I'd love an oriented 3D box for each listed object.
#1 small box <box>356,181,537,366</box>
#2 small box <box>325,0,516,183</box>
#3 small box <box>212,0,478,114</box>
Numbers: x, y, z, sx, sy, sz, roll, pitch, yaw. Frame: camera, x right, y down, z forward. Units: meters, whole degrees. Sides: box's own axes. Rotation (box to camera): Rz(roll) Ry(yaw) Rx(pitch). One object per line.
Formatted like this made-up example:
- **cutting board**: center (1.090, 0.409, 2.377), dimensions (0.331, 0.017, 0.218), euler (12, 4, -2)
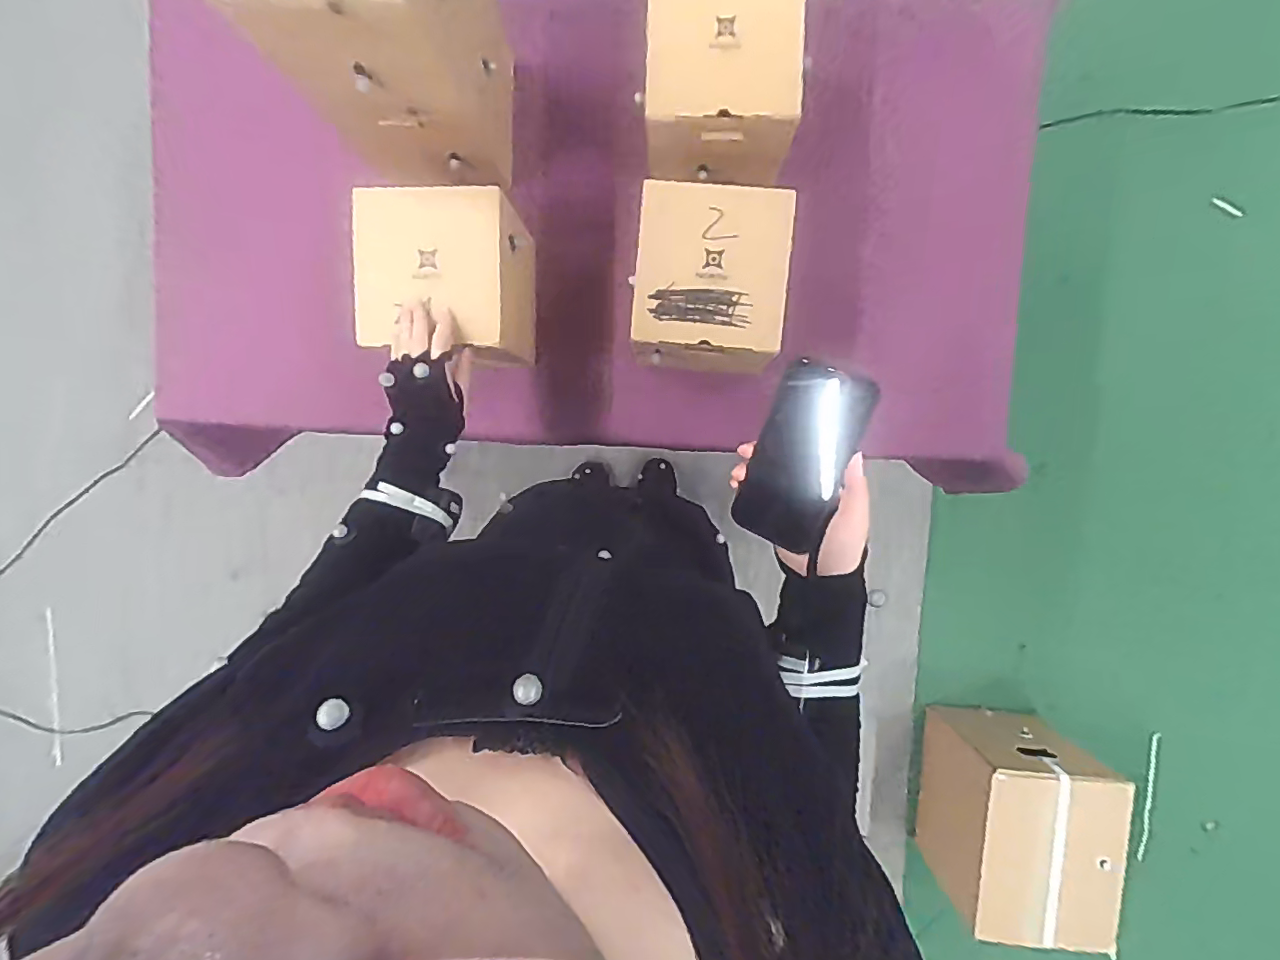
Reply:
- **small box**: center (-0.229, -0.245, 0.676), dimensions (0.168, 0.176, 0.179), euler (1, 94, 3)
- **small box**: center (-0.254, -0.487, 0.659), dimensions (0.168, 0.176, 0.179), euler (3, 95, 2)
- **small box**: center (-0.255, -0.471, 0.495), dimensions (0.168, 0.176, 0.179), euler (3, 95, 1)
